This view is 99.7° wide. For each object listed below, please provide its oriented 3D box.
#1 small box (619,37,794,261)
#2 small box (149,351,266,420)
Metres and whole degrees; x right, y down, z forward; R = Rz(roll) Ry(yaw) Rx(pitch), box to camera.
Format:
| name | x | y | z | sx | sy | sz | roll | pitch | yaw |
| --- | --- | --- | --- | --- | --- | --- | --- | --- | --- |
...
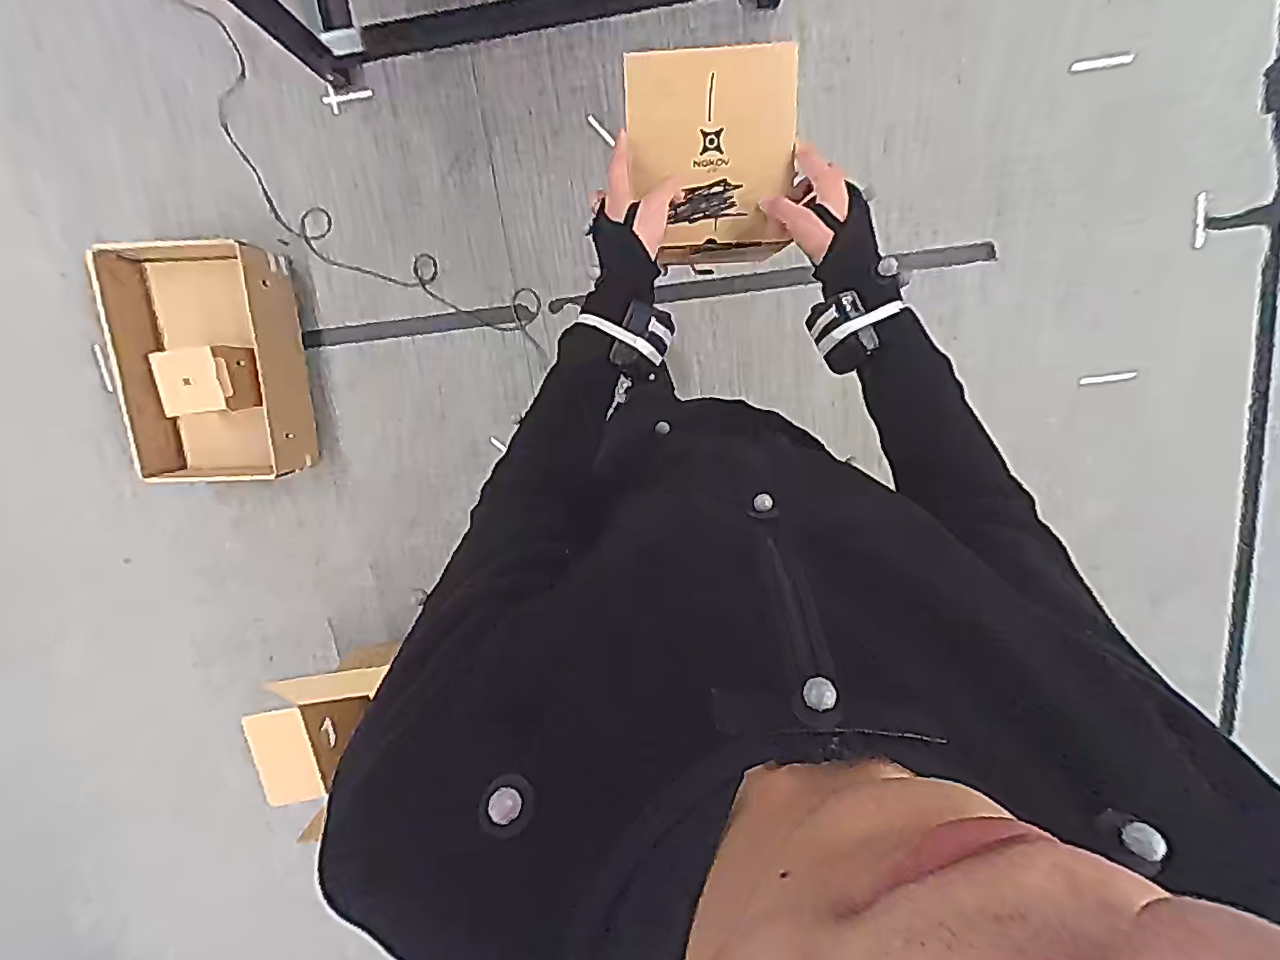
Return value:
| name | x | y | z | sx | sy | sz | roll | pitch | yaw |
| --- | --- | --- | --- | --- | --- | --- | --- | --- | --- |
| small box | 0.068 | -0.345 | 0.601 | 0.168 | 0.176 | 0.179 | -2 | 105 | 3 |
| small box | -1.165 | -0.260 | 1.477 | 0.179 | 0.176 | 0.168 | -7 | 100 | 3 |
